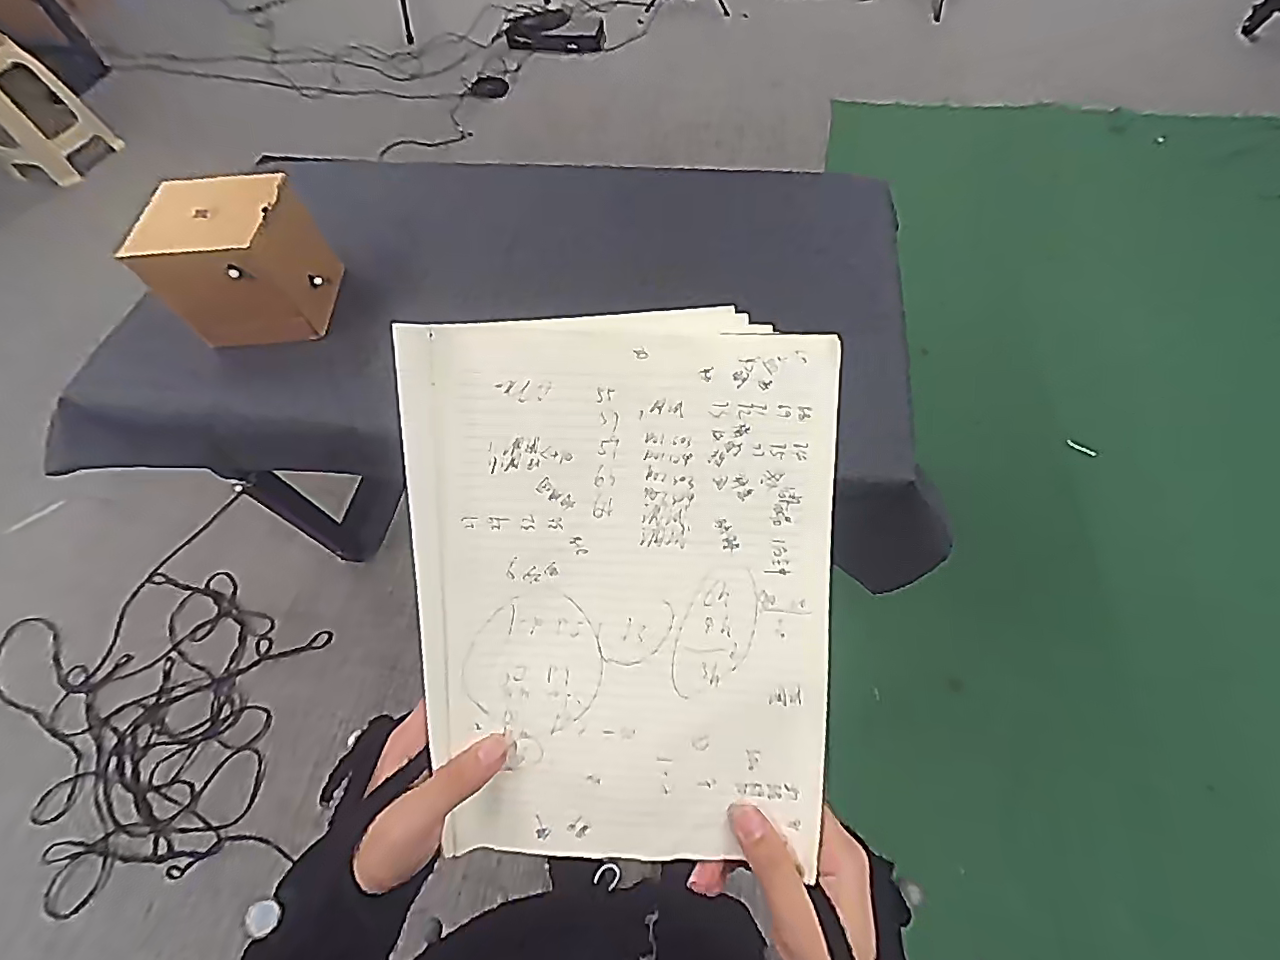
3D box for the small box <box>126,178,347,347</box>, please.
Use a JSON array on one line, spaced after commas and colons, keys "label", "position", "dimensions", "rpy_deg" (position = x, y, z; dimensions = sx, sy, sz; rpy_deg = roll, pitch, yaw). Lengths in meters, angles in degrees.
[{"label": "small box", "position": [-0.577, -0.315, 0.803], "dimensions": [0.179, 0.176, 0.168], "rpy_deg": [-4, 59, 0]}]
